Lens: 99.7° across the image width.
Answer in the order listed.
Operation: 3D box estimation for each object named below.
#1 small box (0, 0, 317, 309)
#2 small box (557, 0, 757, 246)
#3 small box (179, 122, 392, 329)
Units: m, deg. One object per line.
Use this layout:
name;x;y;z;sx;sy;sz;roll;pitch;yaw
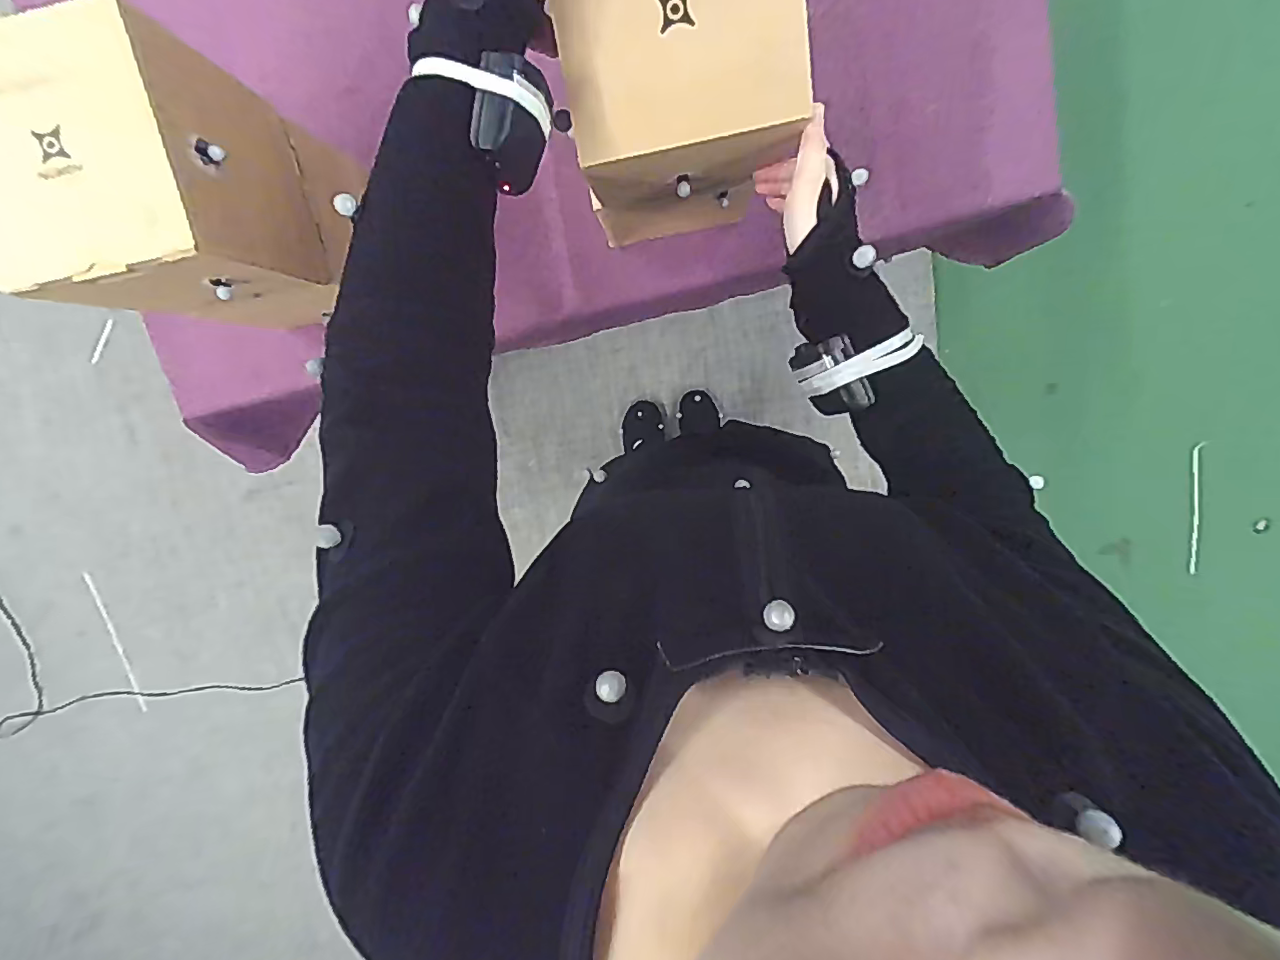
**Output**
small box;-0.425;-0.255;0.477;0.168;0.176;0.179;-9;100;4
small box;0.022;-0.377;0.604;0.179;0.176;0.168;-10;101;4
small box;-0.420;-0.281;0.638;0.179;0.176;0.168;-11;100;4
